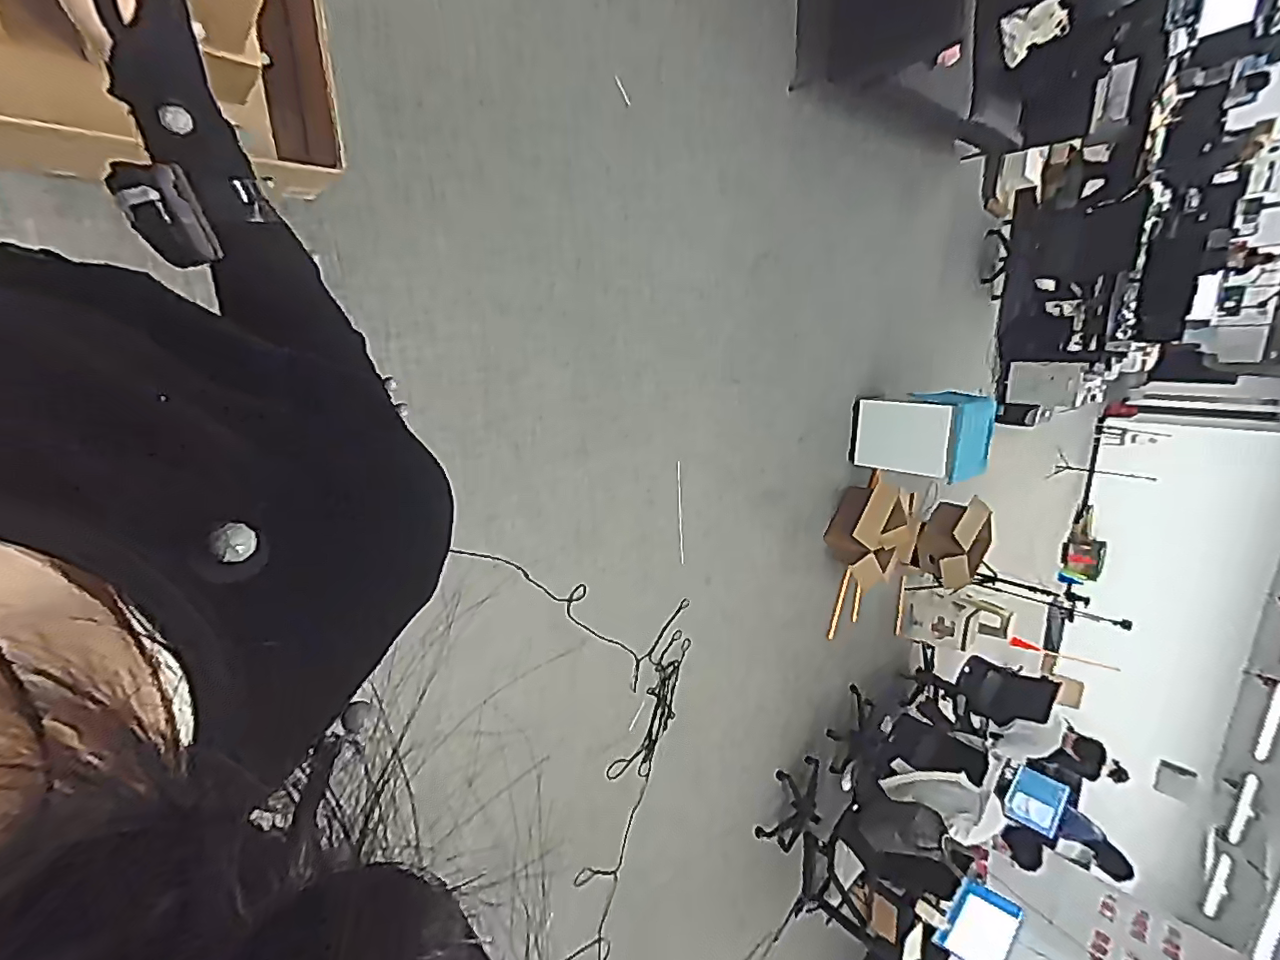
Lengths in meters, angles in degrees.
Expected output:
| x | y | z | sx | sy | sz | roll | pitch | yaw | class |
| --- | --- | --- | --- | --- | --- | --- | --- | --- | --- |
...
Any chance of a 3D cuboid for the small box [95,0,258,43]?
| x | y | z | sx | sy | sz | roll | pitch | yaw | class |
| --- | --- | --- | --- | --- | --- | --- | --- | --- | --- |
| -0.524 | -0.624 | 0.574 | 0.168 | 0.176 | 0.179 | -11 | 107 | -41 | small box |
